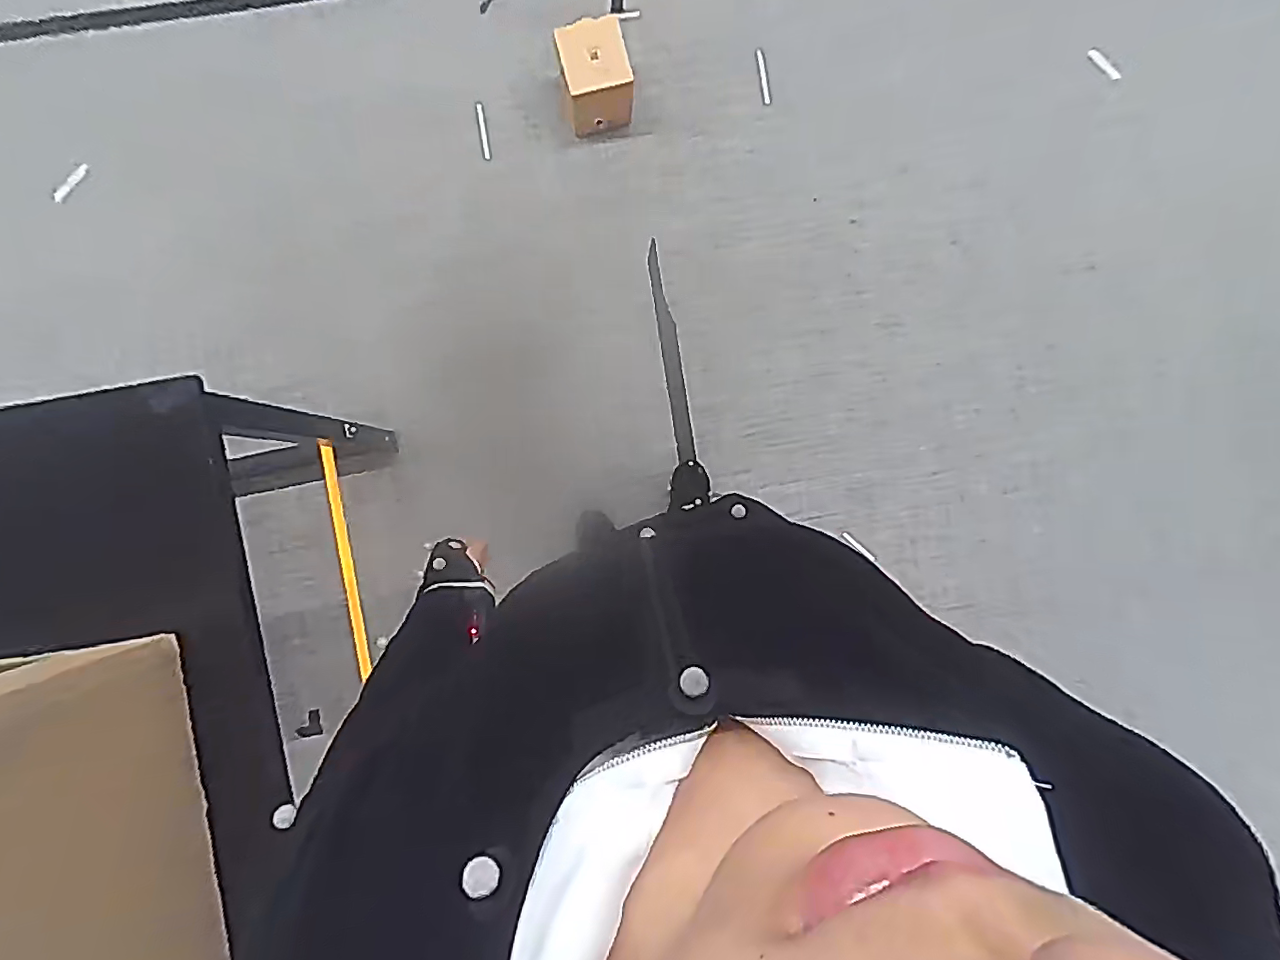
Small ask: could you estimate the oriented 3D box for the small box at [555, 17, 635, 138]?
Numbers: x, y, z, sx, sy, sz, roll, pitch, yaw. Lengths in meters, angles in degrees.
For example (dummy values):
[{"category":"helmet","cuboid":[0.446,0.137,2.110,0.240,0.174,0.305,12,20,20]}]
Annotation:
[{"category":"small box","cuboid":[-0.117,-1.048,1.421,0.168,0.176,0.179,-16,92,-2]}]
